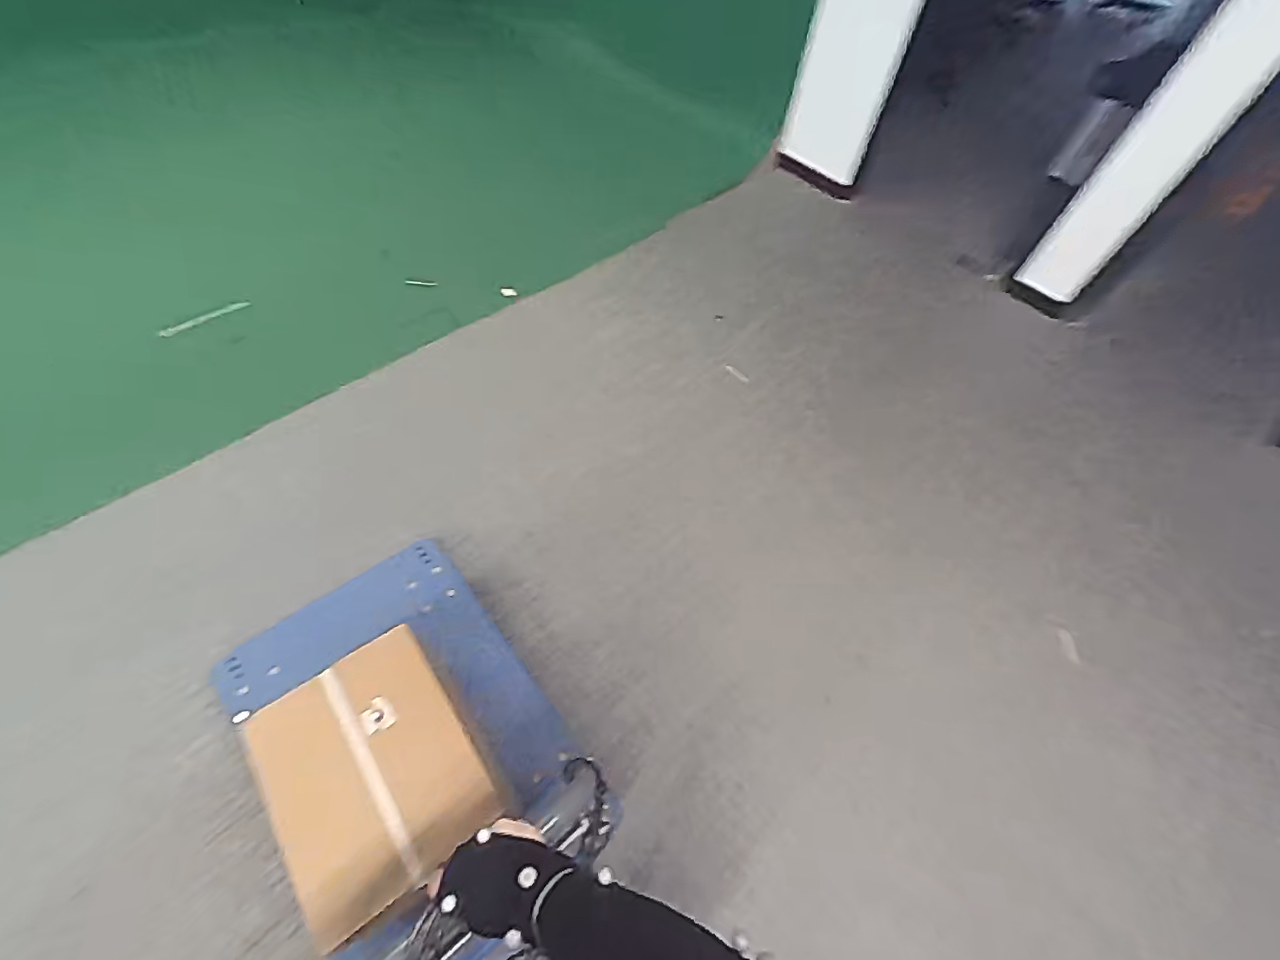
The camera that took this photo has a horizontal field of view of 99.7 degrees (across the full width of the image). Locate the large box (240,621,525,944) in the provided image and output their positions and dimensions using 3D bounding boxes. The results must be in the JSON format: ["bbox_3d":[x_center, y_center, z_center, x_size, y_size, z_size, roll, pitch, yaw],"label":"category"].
[{"bbox_3d":[-0.474,0.563,1.055,0.320,0.320,0.408,-31,64,-22],"label":"large box"}]
